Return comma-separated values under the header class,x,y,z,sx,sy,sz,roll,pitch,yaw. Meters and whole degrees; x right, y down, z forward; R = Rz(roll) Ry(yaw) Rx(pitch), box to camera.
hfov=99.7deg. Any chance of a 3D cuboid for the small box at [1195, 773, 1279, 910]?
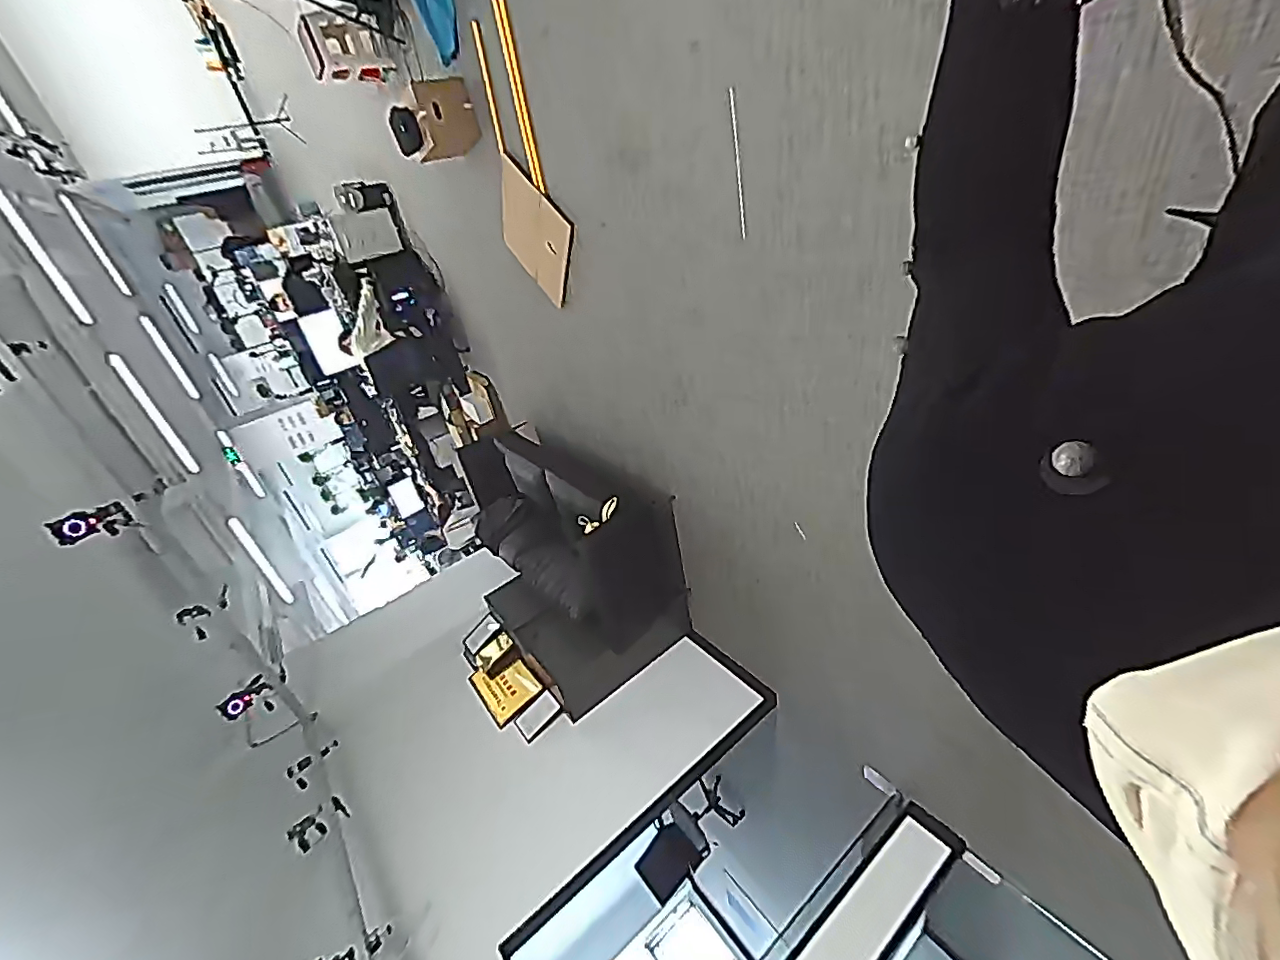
class,x,y,z,sx,sy,sz,roll,pitch,yaw
small box,1.349,0.768,1.136,0.179,0.176,0.168,36,145,39
